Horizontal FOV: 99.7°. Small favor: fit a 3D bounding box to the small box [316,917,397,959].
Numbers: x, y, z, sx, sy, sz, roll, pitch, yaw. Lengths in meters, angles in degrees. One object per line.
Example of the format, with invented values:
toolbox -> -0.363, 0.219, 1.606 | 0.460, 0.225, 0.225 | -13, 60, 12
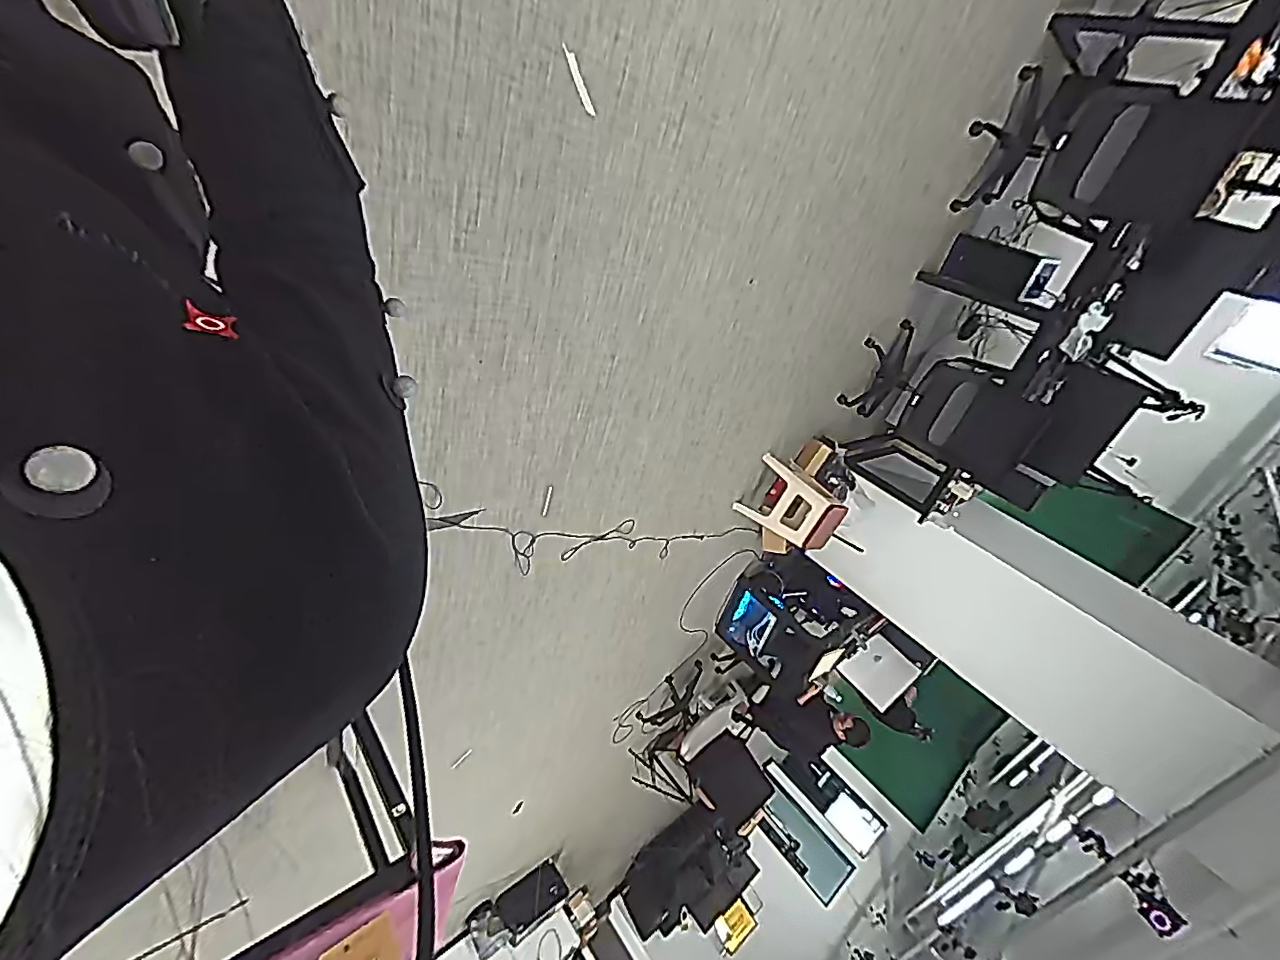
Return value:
small box -> -0.731, 1.297, 1.407 | 0.168, 0.176, 0.179 | -18, 135, -38
